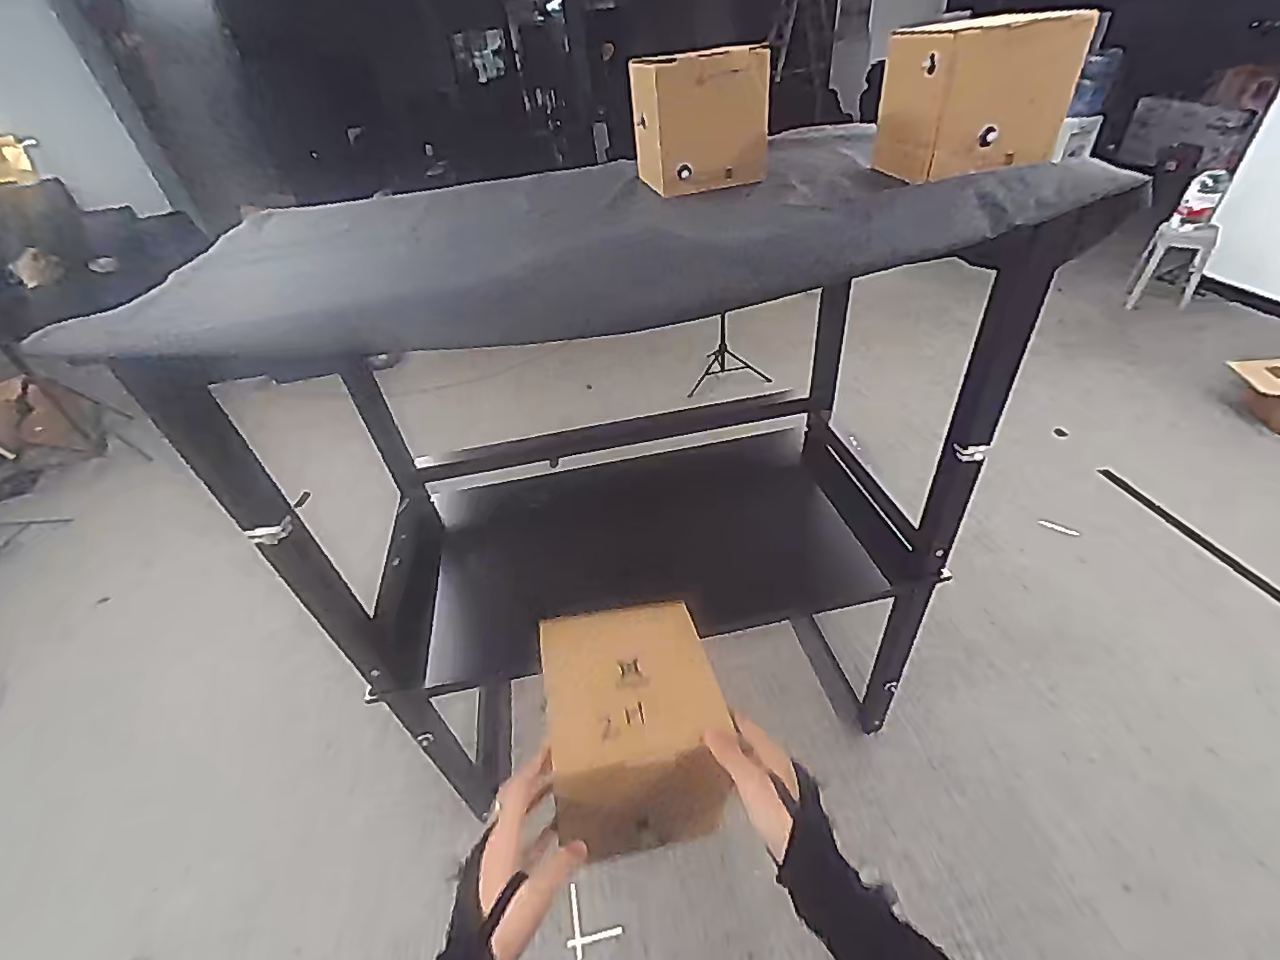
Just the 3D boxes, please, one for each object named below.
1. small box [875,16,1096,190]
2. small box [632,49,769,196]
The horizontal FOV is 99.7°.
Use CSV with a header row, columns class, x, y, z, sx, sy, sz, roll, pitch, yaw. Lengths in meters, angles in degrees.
class,x,y,z,sx,sy,sz,roll,pitch,yaw
small box,0.441,-0.505,0.731,0.168,0.176,0.179,-8,40,0
small box,0.092,-0.559,0.850,0.168,0.176,0.179,-12,39,-6
